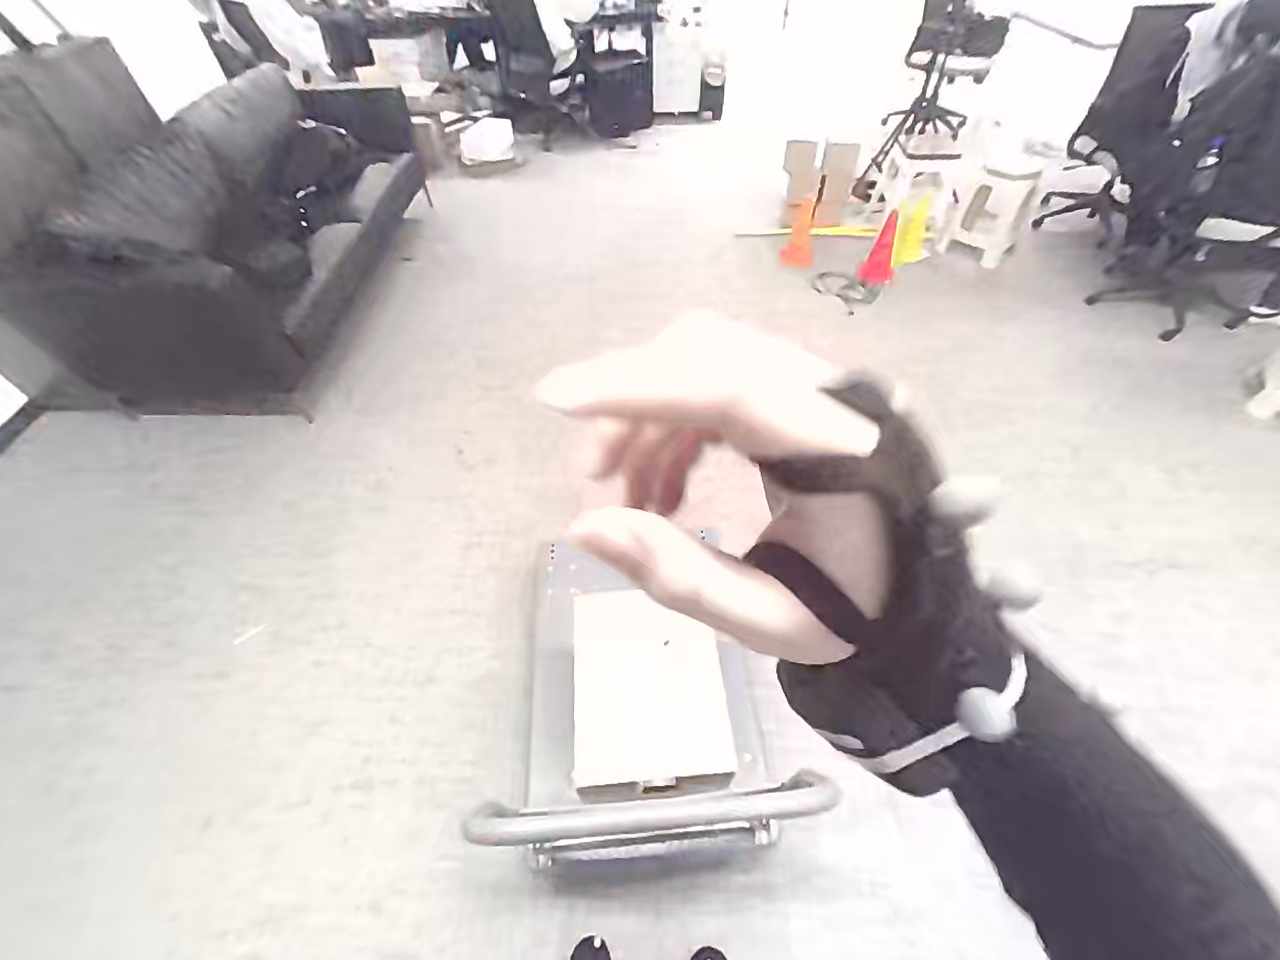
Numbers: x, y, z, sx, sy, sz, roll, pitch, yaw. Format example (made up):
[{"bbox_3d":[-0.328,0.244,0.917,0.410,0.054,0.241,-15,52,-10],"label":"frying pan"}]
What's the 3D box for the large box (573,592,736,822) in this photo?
[{"bbox_3d":[0.020,0.528,1.264,0.320,0.320,0.408,-5,49,-2],"label":"large box"}]
